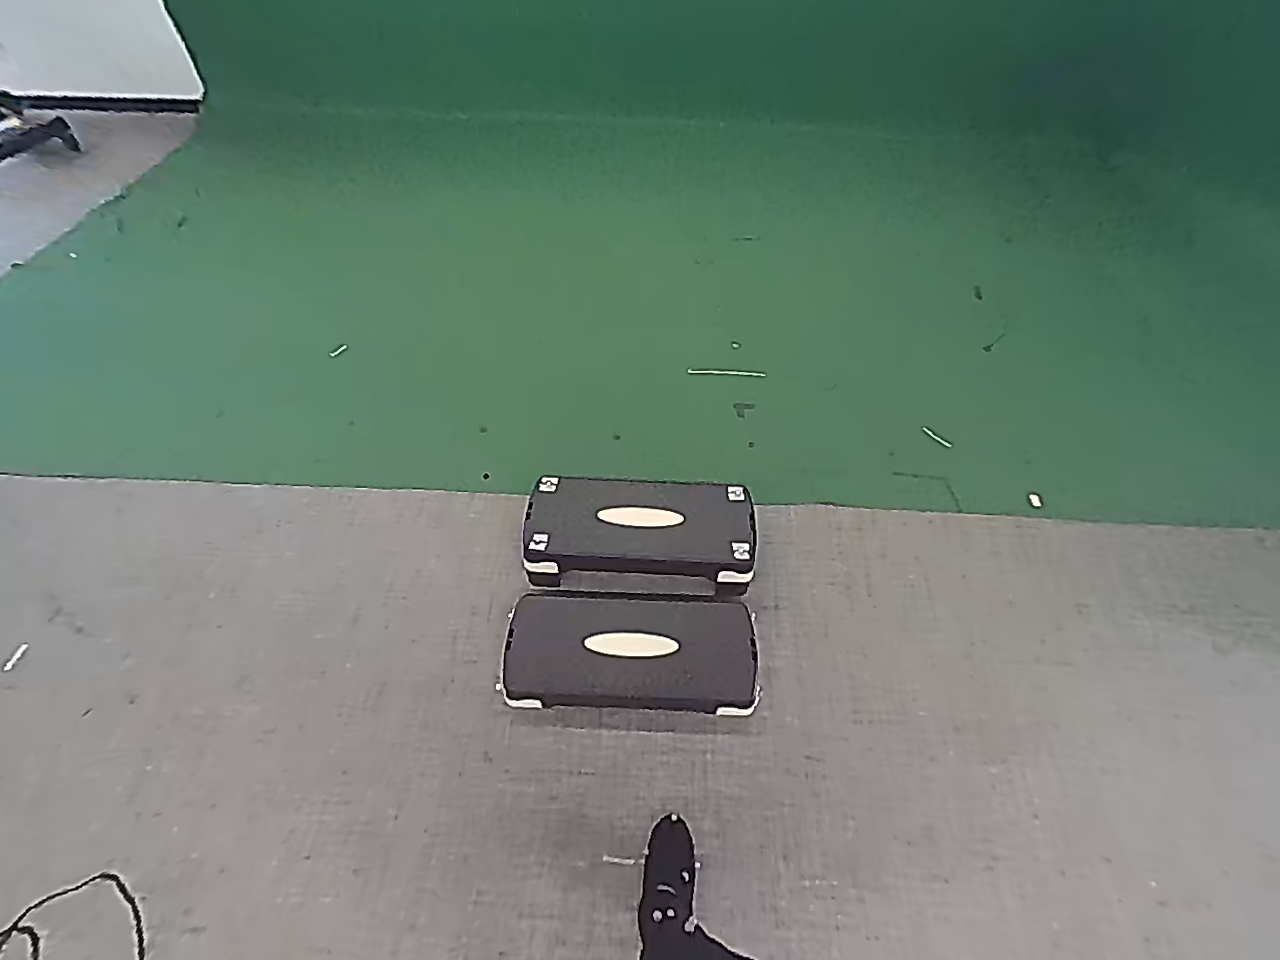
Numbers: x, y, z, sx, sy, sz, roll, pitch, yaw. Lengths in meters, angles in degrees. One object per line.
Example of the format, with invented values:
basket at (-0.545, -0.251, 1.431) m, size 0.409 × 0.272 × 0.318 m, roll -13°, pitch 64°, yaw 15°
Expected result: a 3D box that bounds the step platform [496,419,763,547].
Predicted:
step platform at (-0.025, 0.013, 1.471) m, size 0.684 × 0.204 × 0.286 m, roll 2°, pitch 53°, yaw 1°
